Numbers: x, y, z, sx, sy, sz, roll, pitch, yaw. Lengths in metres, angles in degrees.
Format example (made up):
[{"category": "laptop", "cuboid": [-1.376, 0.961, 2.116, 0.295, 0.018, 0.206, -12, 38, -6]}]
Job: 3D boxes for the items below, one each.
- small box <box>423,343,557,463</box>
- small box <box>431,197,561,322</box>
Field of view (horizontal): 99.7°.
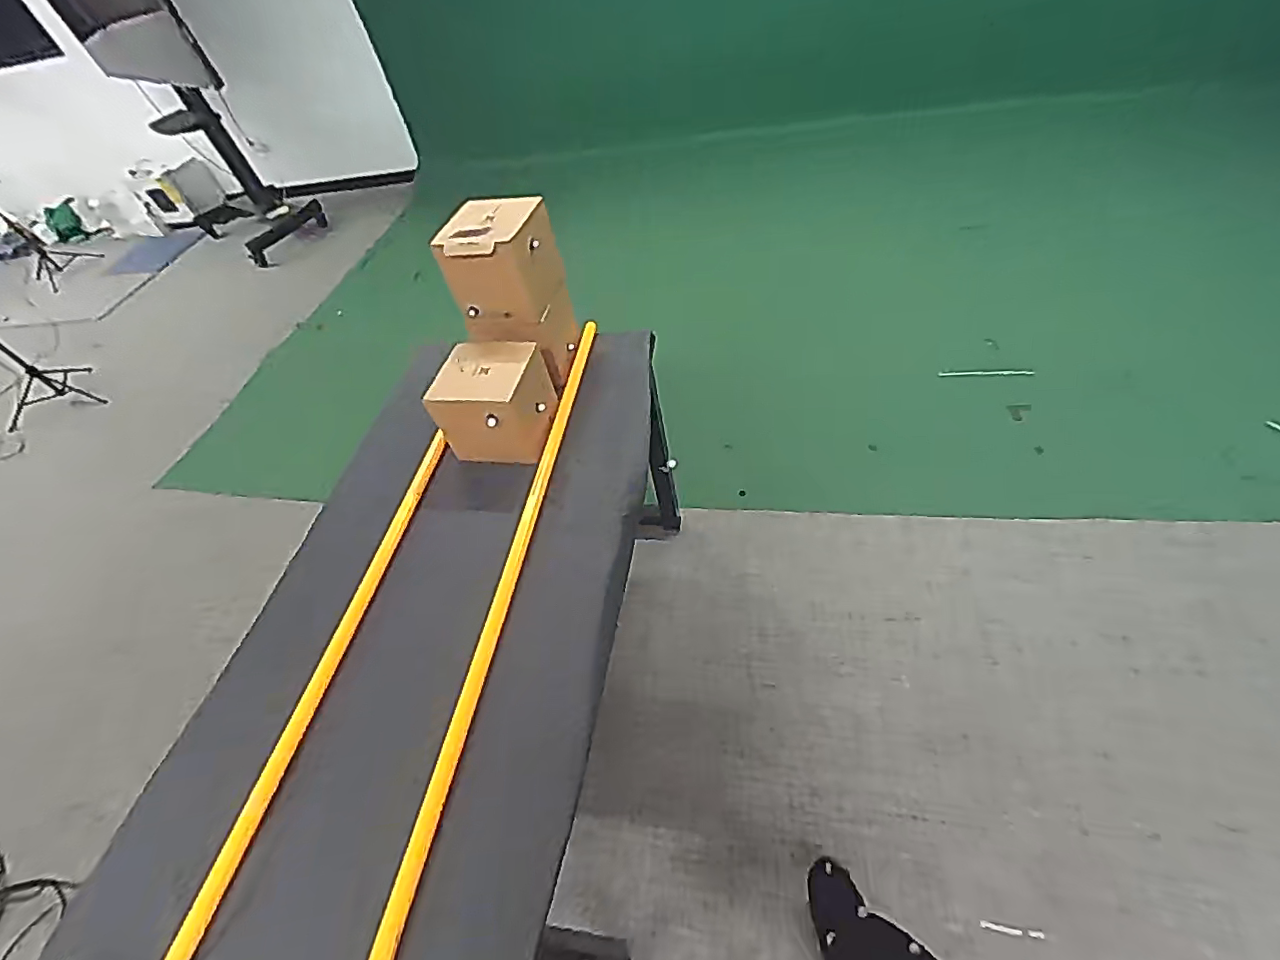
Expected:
[{"category": "small box", "cuboid": [-0.277, -0.147, 1.052, 0.179, 0.176, 0.168, 3, 51, 14]}, {"category": "small box", "cuboid": [-0.270, -0.429, 1.066, 0.168, 0.176, 0.179, 5, 52, 14]}]
